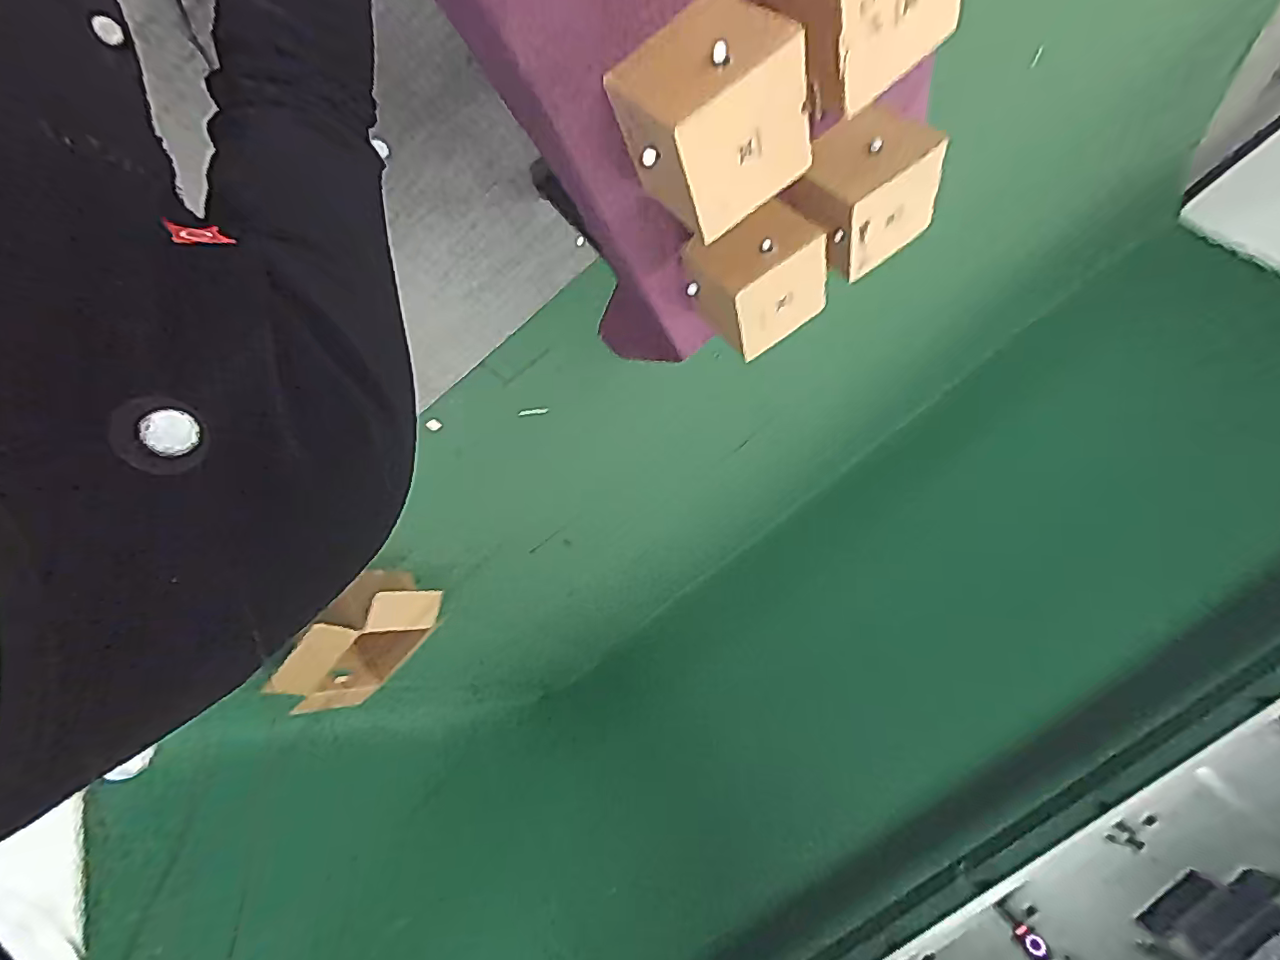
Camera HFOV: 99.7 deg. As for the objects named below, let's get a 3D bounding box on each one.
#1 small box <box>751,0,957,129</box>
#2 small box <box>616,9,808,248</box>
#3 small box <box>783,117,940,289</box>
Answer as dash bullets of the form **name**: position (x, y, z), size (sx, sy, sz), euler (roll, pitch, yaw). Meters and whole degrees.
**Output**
- **small box**: position (0.258, -0.588, 0.660), size (0.179, 0.176, 0.168), euler (-38, 150, 3)
- **small box**: position (0.088, -0.446, 0.692), size (0.179, 0.176, 0.168), euler (-36, 150, 2)
- **small box**: position (0.369, -0.478, 0.931), size (0.179, 0.176, 0.168), euler (-36, 150, -1)
